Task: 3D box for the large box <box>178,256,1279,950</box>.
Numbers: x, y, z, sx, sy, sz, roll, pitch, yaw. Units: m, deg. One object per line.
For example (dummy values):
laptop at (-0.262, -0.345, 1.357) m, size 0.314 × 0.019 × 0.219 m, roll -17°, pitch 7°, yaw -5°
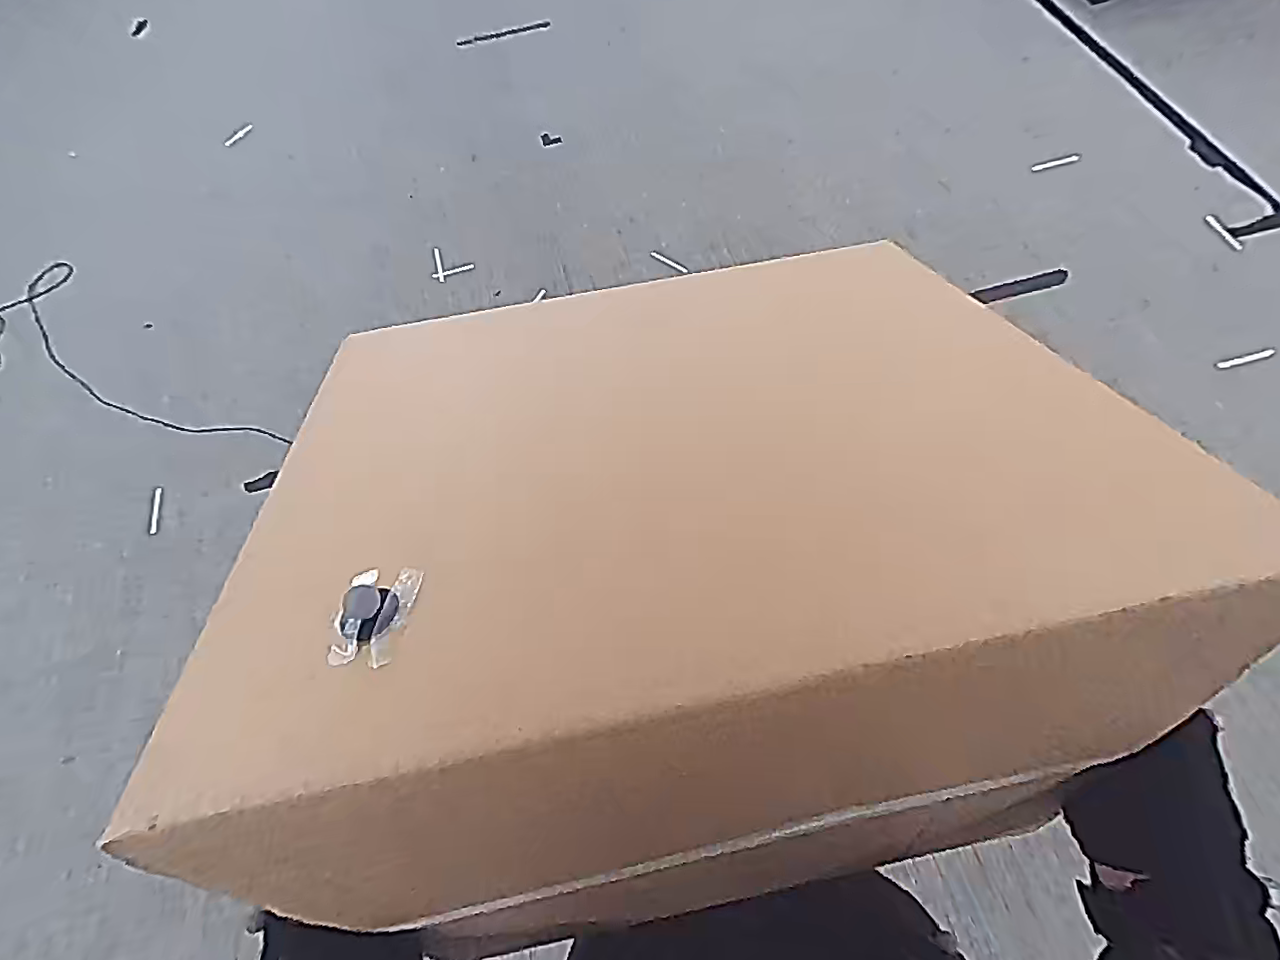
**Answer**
large box at (0.033, 0.073, 0.391) m, size 0.408 × 0.320 × 0.320 m, roll -12°, pitch 43°, yaw -3°
